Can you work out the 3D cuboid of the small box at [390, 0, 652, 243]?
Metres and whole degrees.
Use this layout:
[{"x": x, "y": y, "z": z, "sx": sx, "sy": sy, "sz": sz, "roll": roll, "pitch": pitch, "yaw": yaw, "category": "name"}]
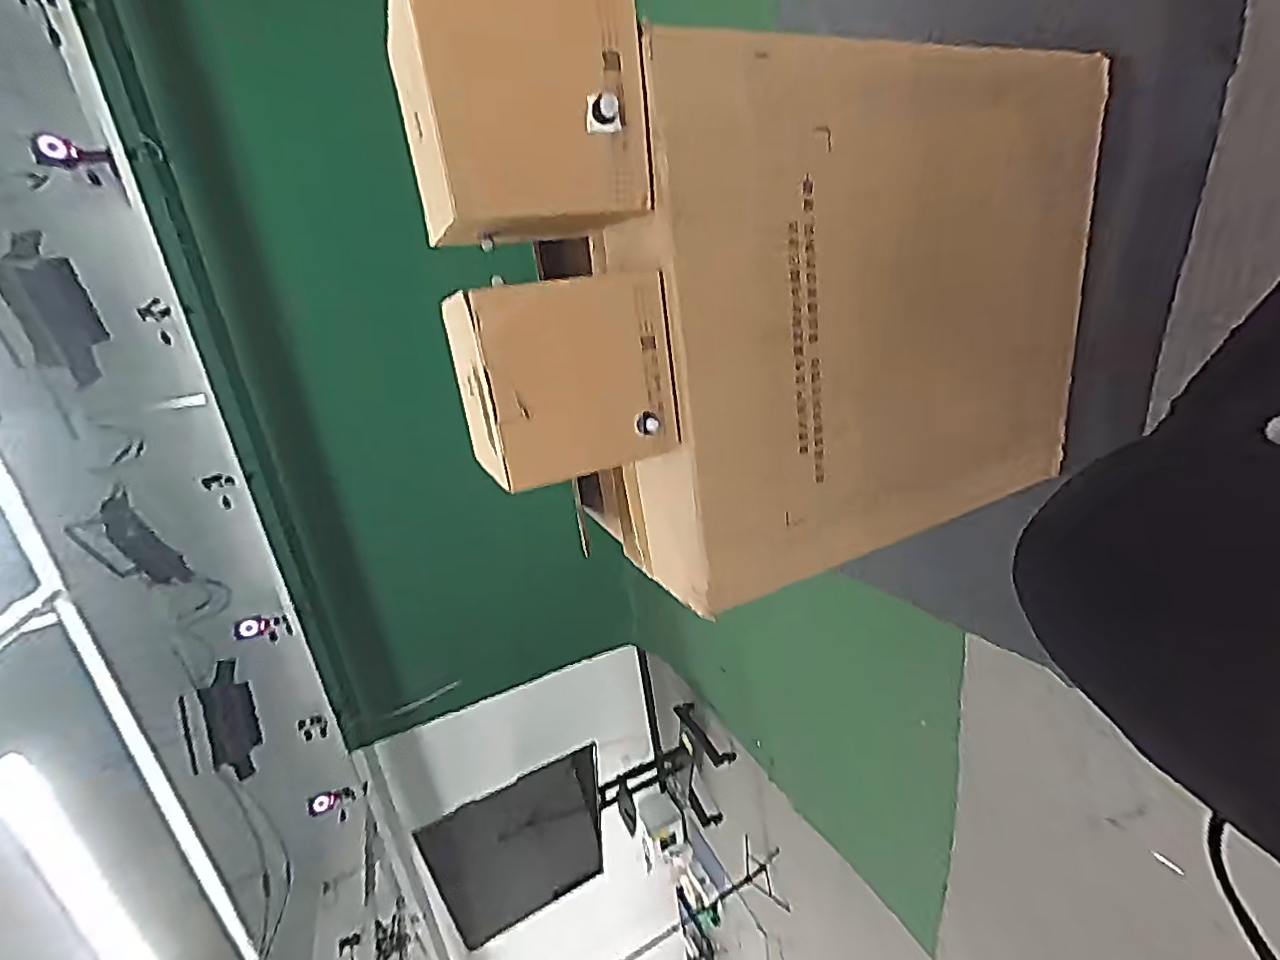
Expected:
[{"x": -0.105, "y": -0.308, "z": 0.472, "sx": 0.179, "sy": 0.176, "sz": 0.168, "roll": 27, "pitch": 128, "yaw": 59, "category": "small box"}]
